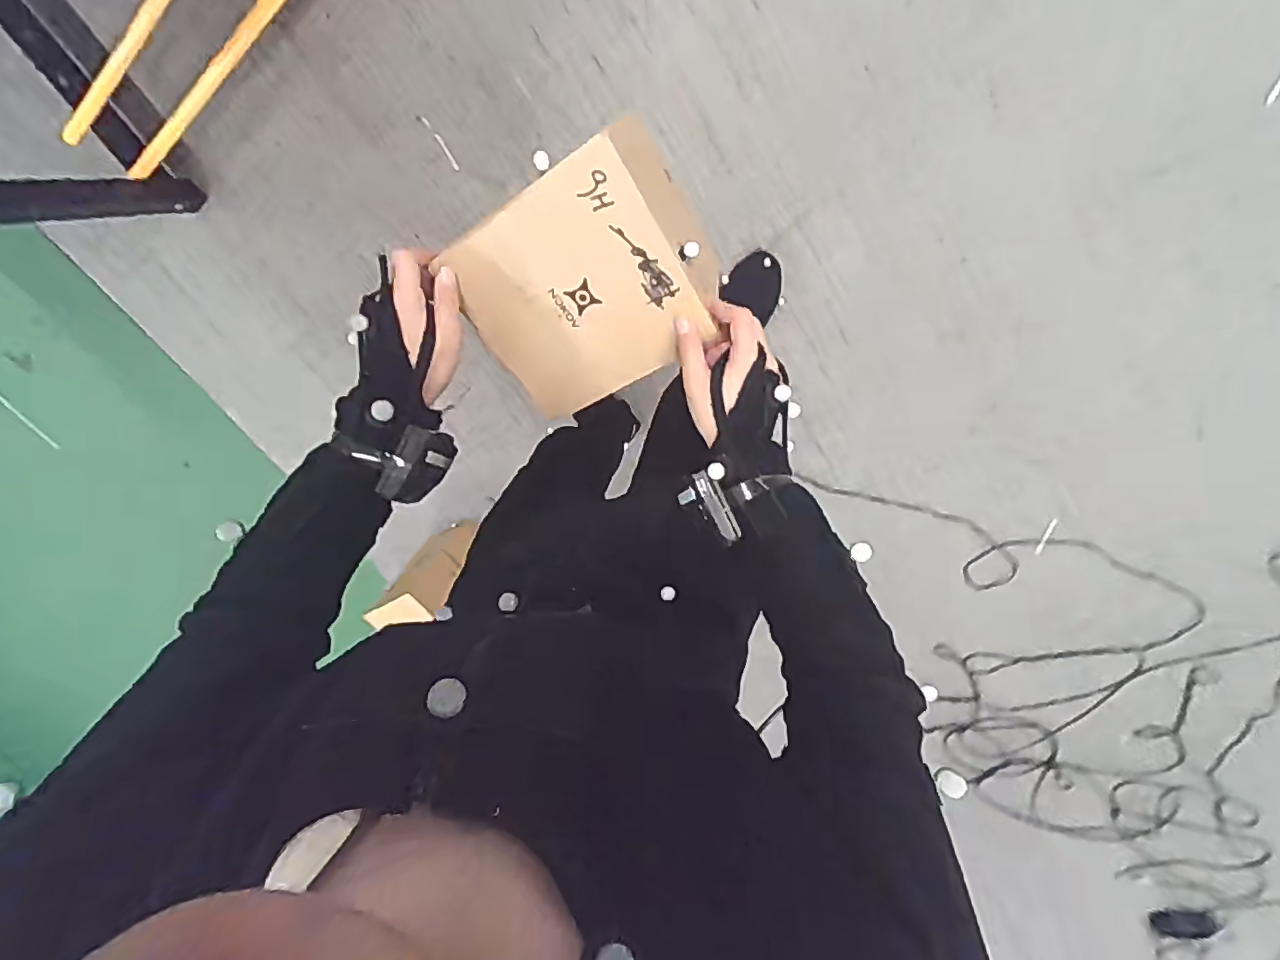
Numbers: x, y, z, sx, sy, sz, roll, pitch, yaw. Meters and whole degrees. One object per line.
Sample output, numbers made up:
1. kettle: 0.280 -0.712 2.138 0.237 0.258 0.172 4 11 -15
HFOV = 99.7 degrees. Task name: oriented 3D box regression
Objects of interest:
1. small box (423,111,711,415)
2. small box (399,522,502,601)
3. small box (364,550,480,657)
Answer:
1. small box: -0.048 -0.194 0.488 0.179 0.176 0.168 -23 122 25
2. small box: -0.521 0.239 1.510 0.168 0.176 0.179 -24 112 23
3. small box: -0.540 0.308 1.364 0.179 0.176 0.168 -28 111 23
